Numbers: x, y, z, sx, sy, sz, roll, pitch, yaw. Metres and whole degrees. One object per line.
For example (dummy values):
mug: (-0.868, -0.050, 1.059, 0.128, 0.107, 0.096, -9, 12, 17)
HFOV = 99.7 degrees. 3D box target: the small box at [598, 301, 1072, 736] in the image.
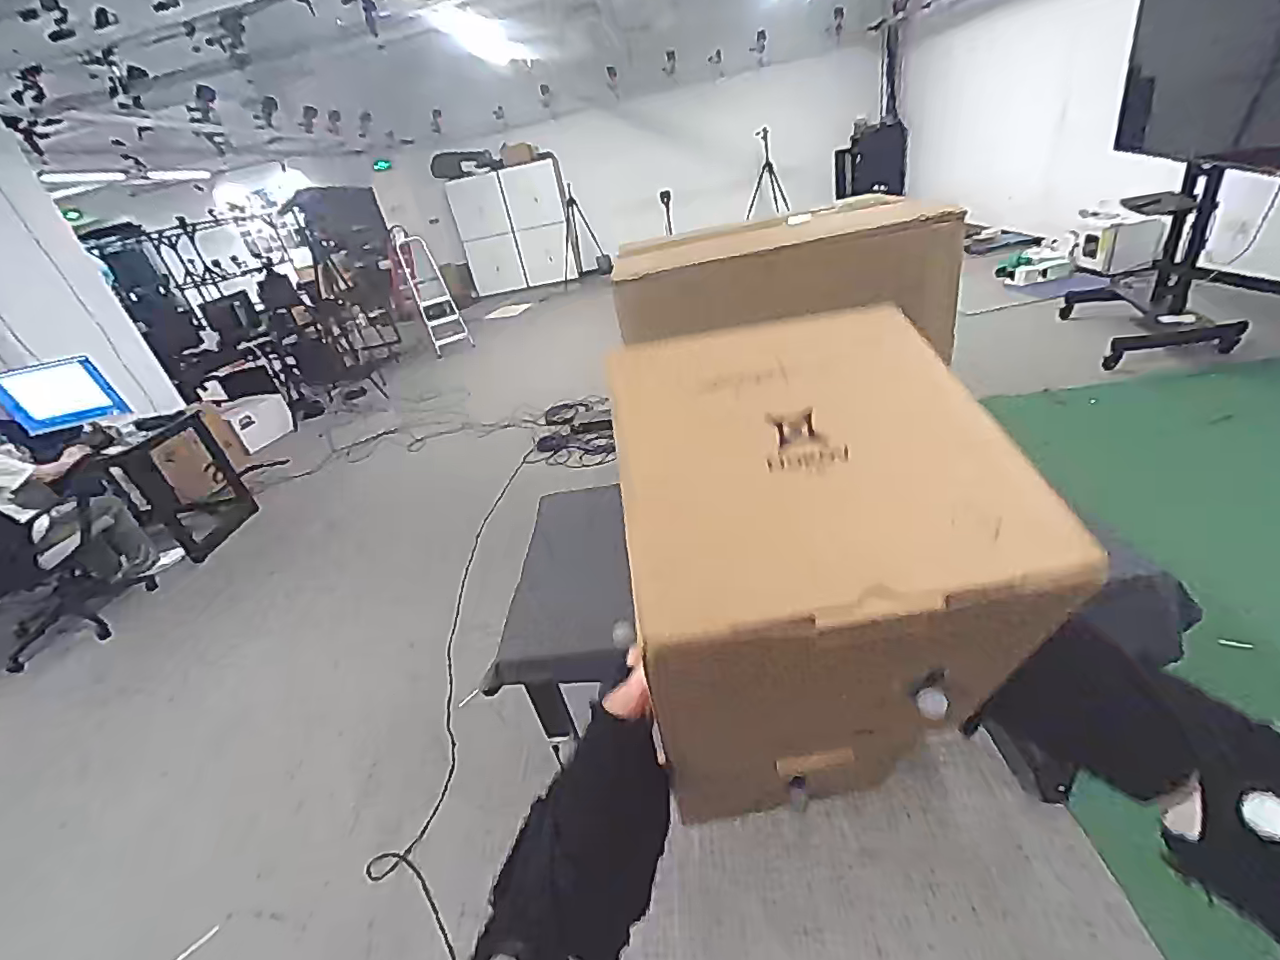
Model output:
small box: (0.073, 0.027, 0.307, 0.168, 0.176, 0.179, -8, 47, -2)

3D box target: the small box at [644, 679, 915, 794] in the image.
small box: (0.083, 0.132, 0.431, 0.168, 0.176, 0.179, -10, 49, -3)
